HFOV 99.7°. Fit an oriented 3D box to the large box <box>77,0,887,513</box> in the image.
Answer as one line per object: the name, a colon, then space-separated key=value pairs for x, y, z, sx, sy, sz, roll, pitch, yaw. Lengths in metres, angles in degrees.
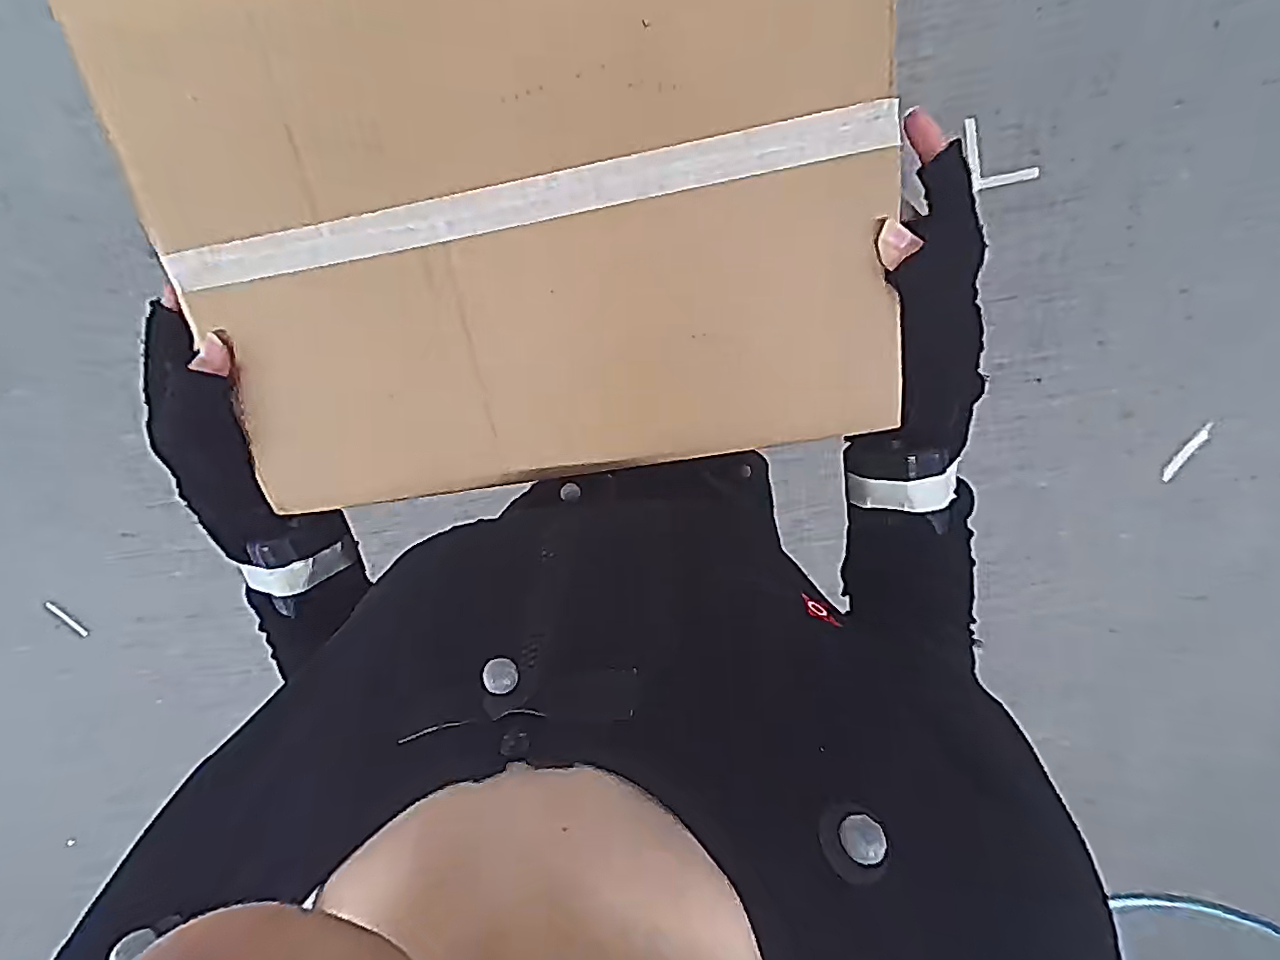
large box: x=-0.060 y=-0.200 z=0.441 sx=0.408 sy=0.320 sz=0.320 roll=-8 pitch=109 yaw=7
